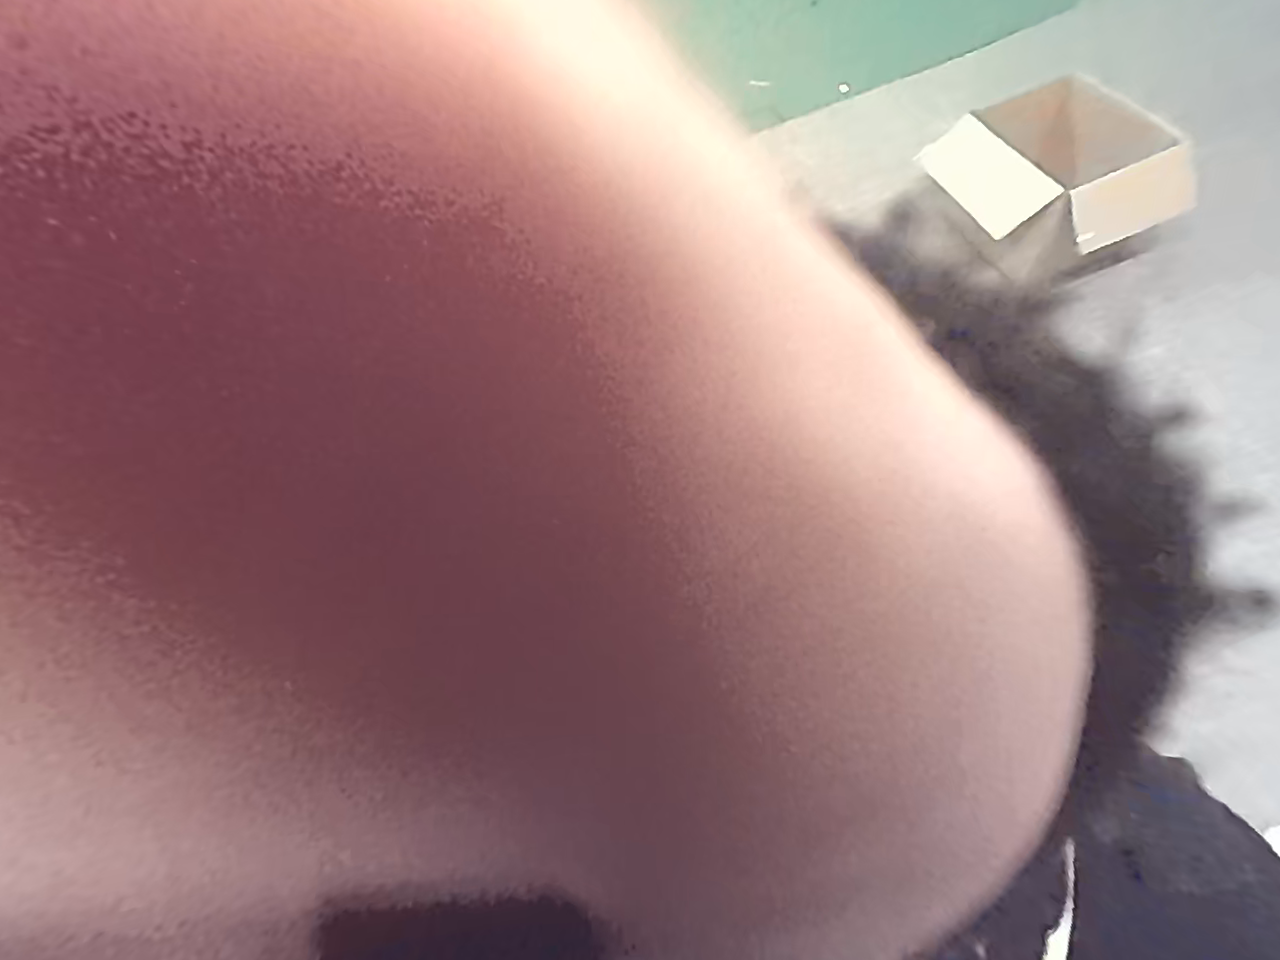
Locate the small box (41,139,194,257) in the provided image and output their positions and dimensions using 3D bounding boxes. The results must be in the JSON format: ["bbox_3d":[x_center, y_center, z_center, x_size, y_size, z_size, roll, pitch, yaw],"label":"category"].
[{"bbox_3d":[-1.216,-0.652,1.272,0.179,0.176,0.168,-17,59,4],"label":"small box"}]
